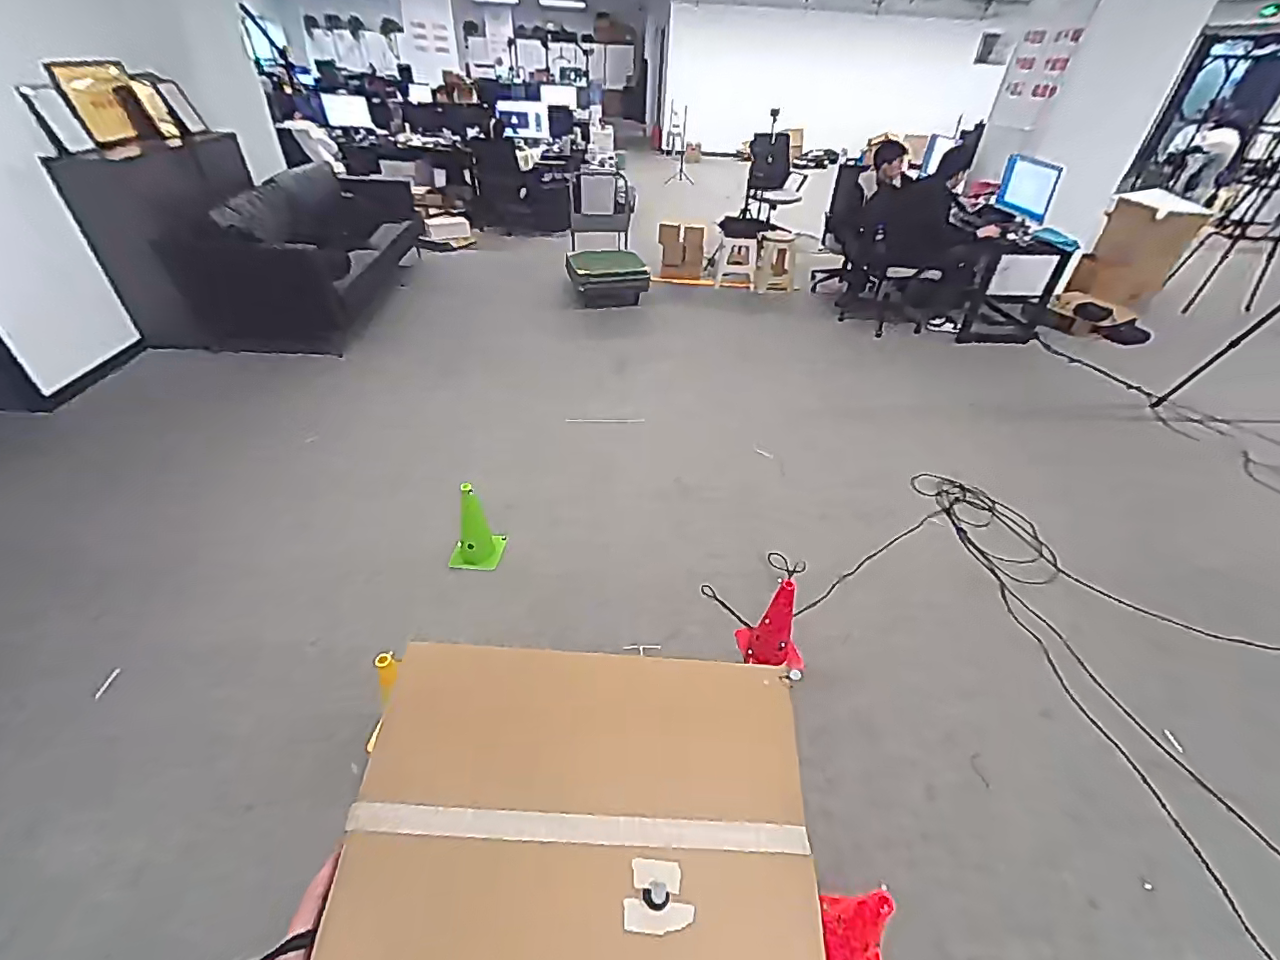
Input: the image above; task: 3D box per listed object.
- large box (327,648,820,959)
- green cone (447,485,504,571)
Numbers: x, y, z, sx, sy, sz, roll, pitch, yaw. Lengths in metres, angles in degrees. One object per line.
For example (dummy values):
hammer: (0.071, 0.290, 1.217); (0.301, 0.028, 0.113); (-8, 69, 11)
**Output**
large box: (-0.058, 0.403, 0.609); (0.408, 0.320, 0.320); (4, 53, -2)
green cone: (-0.683, 0.167, 2.165); (0.200, 0.368, 0.202); (4, 39, 2)
